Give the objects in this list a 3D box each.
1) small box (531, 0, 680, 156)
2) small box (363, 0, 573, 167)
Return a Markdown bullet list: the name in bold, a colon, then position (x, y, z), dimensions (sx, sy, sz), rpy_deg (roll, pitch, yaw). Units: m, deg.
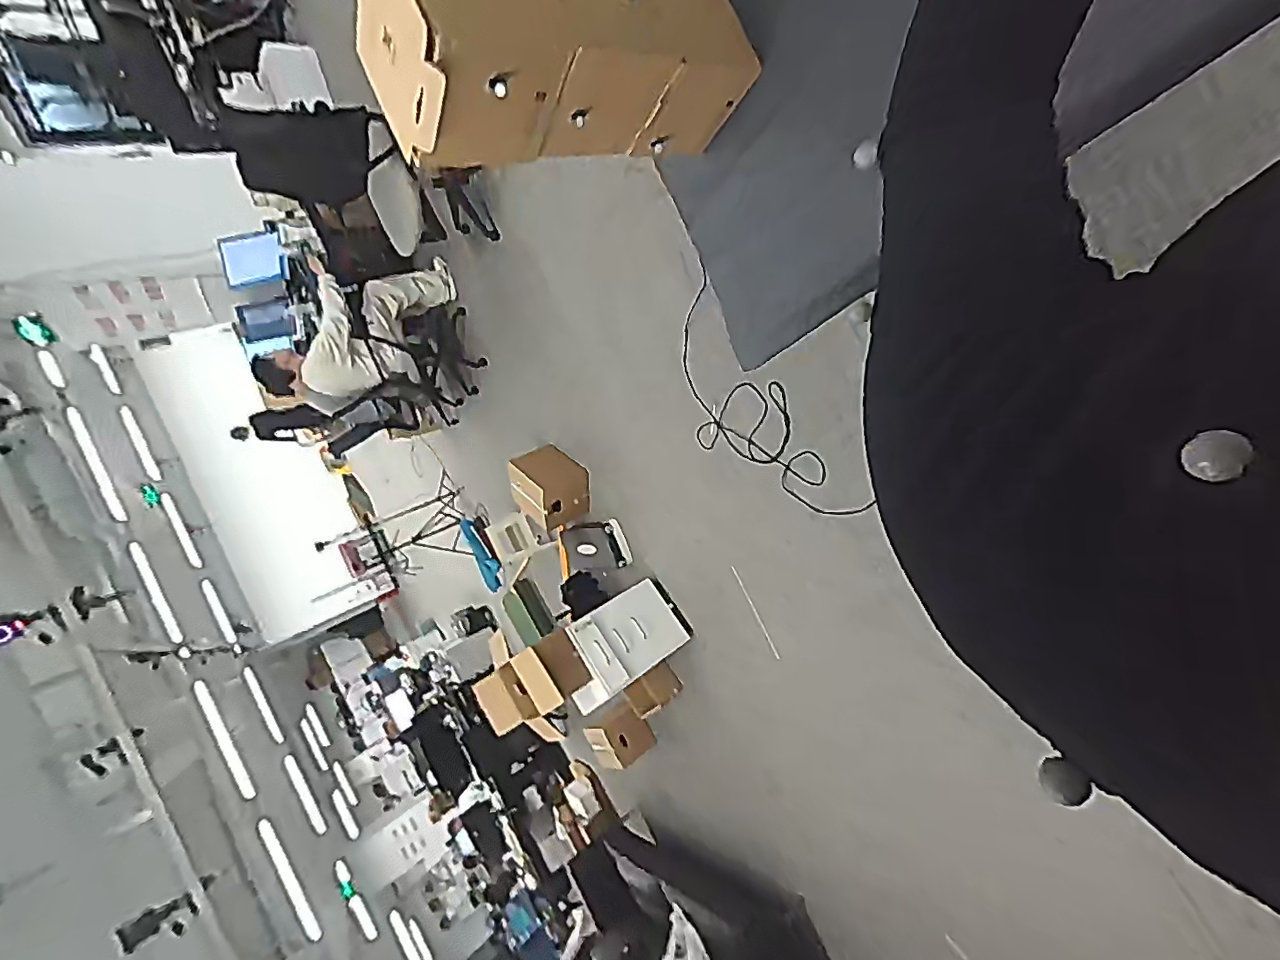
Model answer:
- **small box**: position (-0.077, -0.568, 0.720), dimensions (0.179, 0.176, 0.168), rpy_deg (-26, 90, 57)
- **small box**: position (-0.204, -0.508, 0.638), dimensions (0.168, 0.176, 0.179), rpy_deg (-34, 82, 56)
